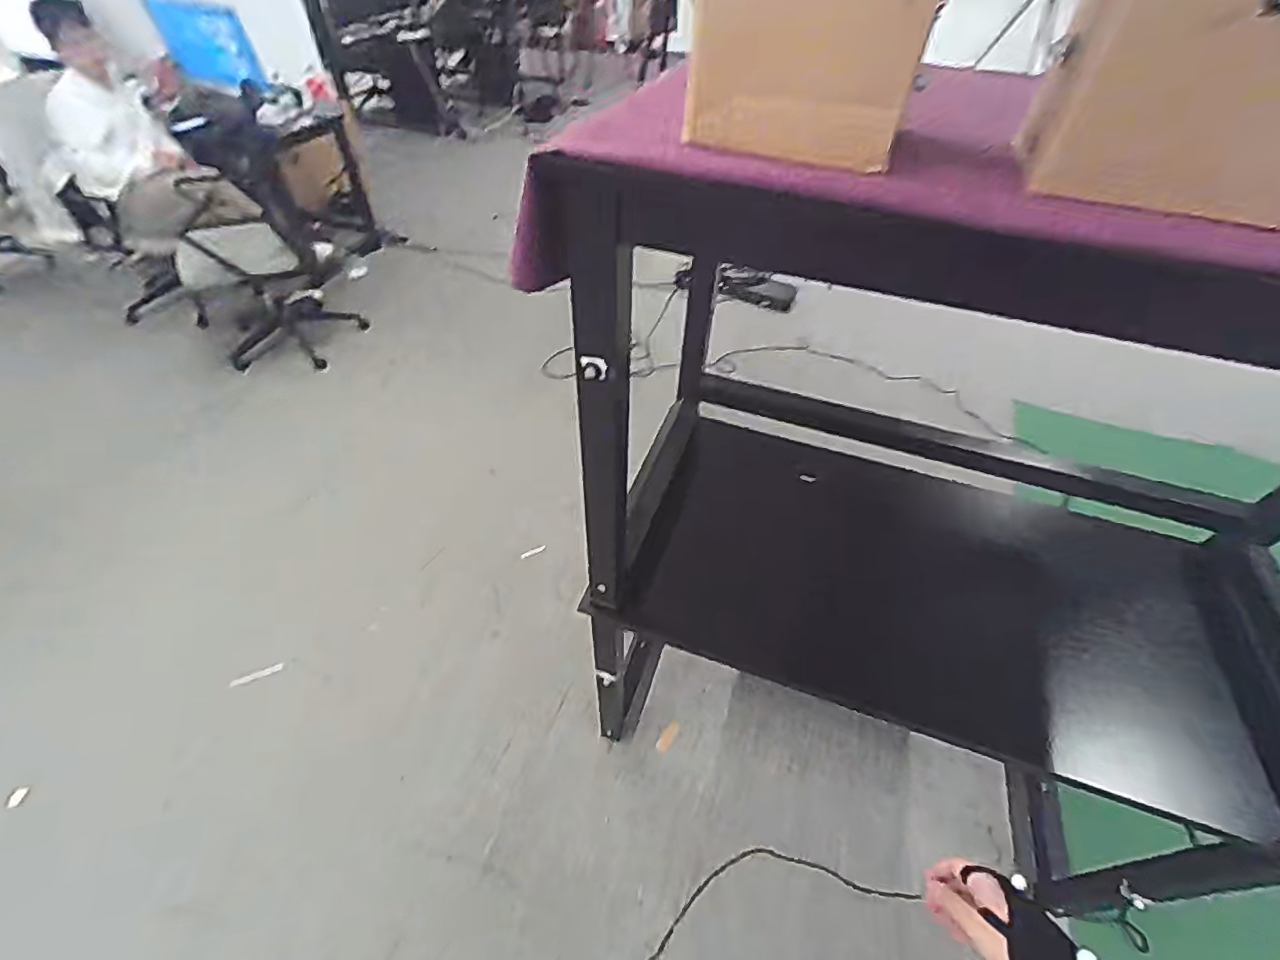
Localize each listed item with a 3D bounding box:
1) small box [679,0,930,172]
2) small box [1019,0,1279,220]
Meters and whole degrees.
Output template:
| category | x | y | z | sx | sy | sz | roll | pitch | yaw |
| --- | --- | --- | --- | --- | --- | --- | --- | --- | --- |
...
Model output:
| category | x | y | z | sx | sy | sz | roll | pitch | yaw |
| --- | --- | --- | --- | --- | --- | --- | --- | --- | --- |
| small box | 0.140 | -0.377 | 0.452 | 0.179 | 0.176 | 0.168 | 17 | 49 | 13 |
| small box | 0.407 | -0.309 | 0.393 | 0.179 | 0.176 | 0.168 | 17 | 49 | 14 |
